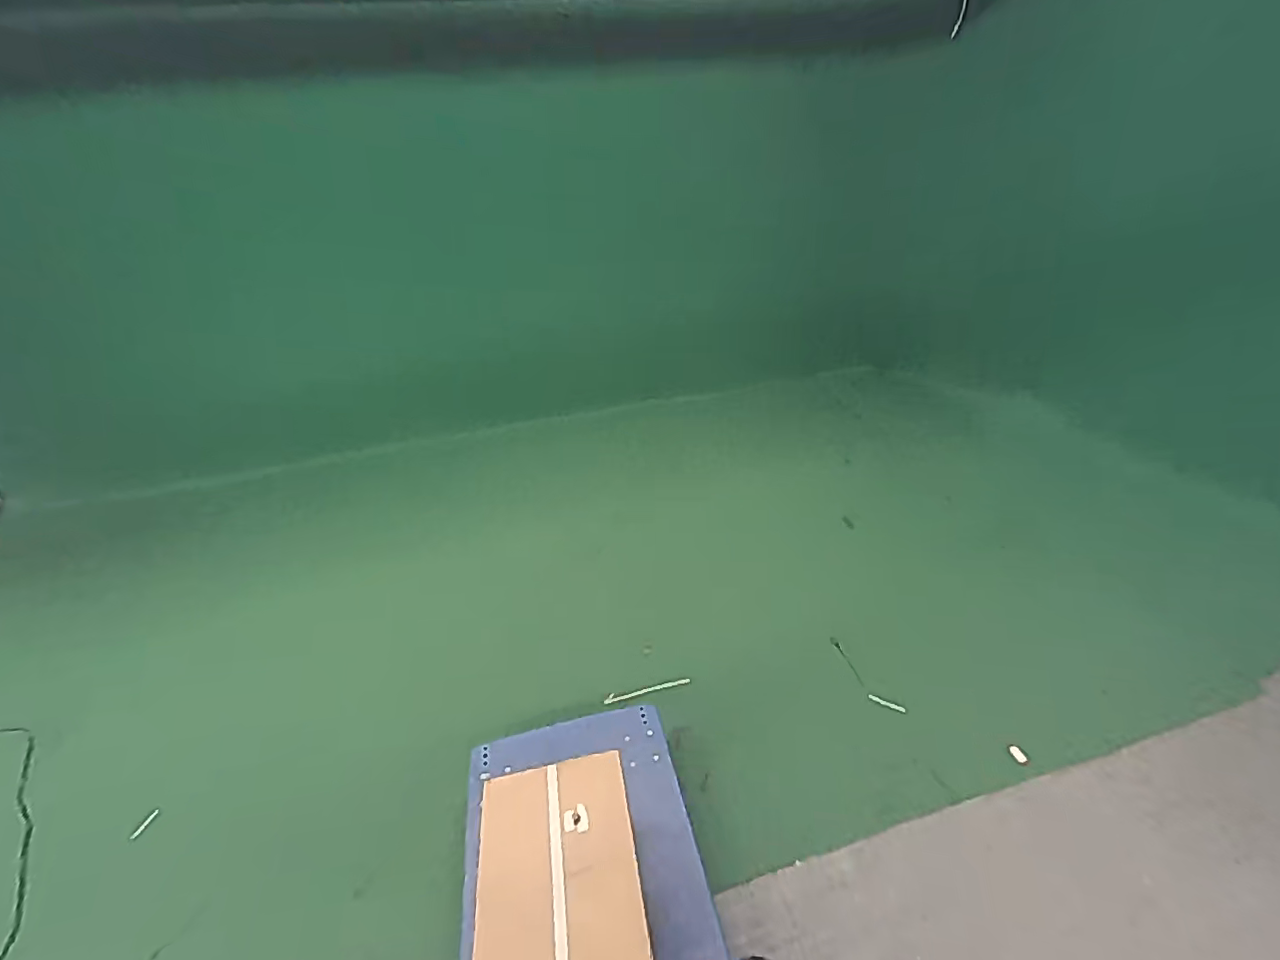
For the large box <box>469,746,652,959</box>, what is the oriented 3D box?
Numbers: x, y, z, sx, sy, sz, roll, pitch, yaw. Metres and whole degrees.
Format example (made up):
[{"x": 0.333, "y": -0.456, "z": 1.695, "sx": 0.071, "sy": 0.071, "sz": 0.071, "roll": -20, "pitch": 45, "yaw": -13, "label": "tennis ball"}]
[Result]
[{"x": -0.160, "y": 0.866, "z": 1.144, "sx": 0.320, "sy": 0.320, "sz": 0.408, "roll": -9, "pitch": 31, "yaw": -7, "label": "large box"}]
